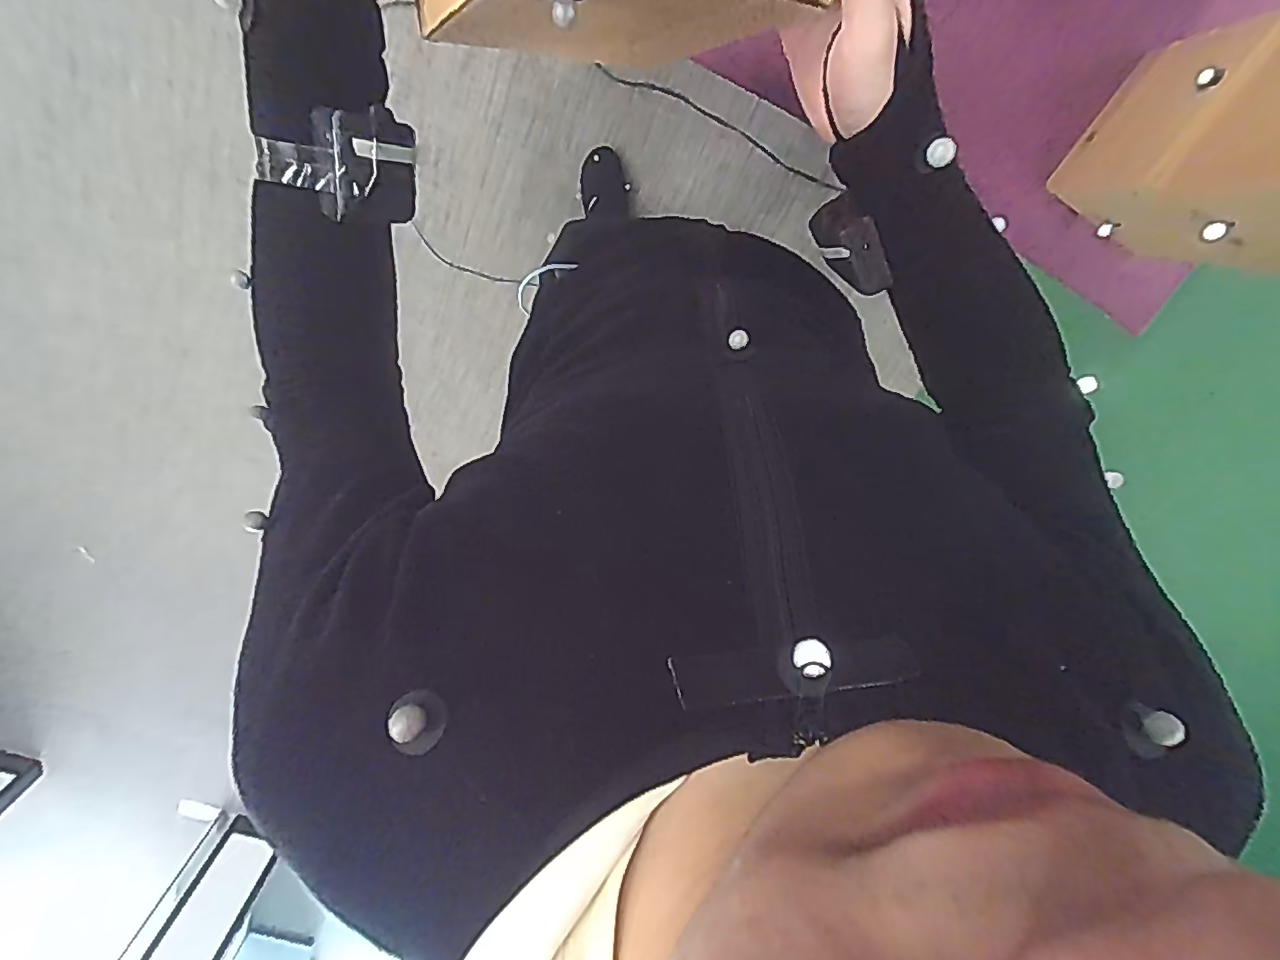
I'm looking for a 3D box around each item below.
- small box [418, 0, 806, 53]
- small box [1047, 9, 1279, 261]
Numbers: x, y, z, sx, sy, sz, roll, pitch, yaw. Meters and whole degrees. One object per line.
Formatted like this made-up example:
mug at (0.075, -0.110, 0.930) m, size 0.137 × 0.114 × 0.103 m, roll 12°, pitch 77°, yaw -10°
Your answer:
small box at (-0.014, -0.330, 0.263) m, size 0.176 × 0.179 × 0.168 m, roll -18°, pitch 124°, yaw -29°
small box at (0.631, -0.377, 0.613) m, size 0.179 × 0.176 × 0.168 m, roll 26°, pitch 115°, yaw -12°
